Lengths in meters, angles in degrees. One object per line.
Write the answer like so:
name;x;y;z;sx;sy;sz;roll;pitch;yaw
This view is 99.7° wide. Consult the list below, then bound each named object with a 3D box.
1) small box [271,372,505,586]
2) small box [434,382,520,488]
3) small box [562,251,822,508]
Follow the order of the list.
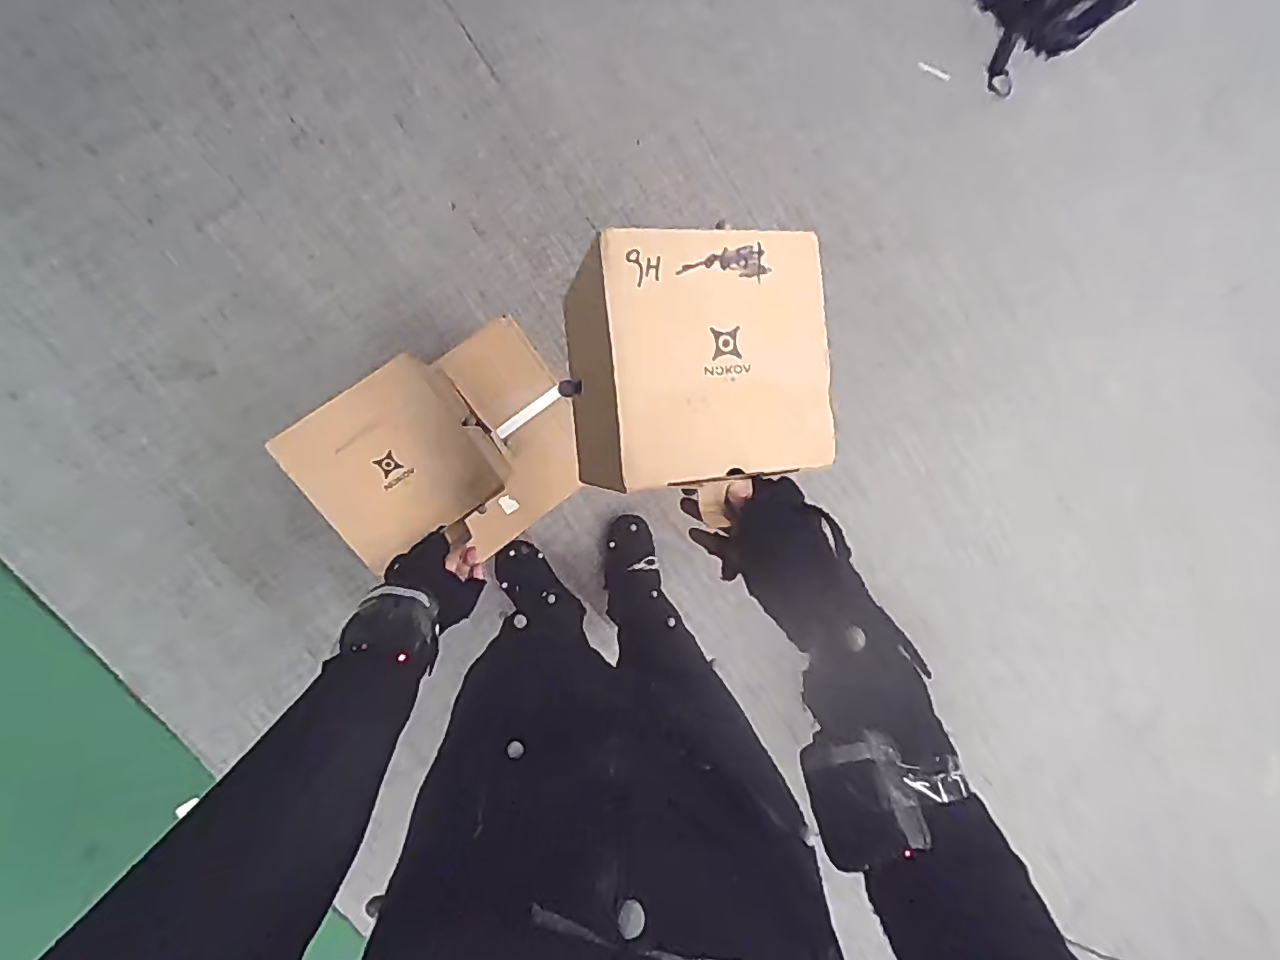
small box;-0.277;-0.009;0.647;0.168;0.176;0.179;-37;101;-6
small box;-0.300;-0.028;0.806;0.179;0.176;0.168;-38;103;-6
small box;0.032;-0.079;0.464;0.168;0.176;0.179;-7;94;-17
